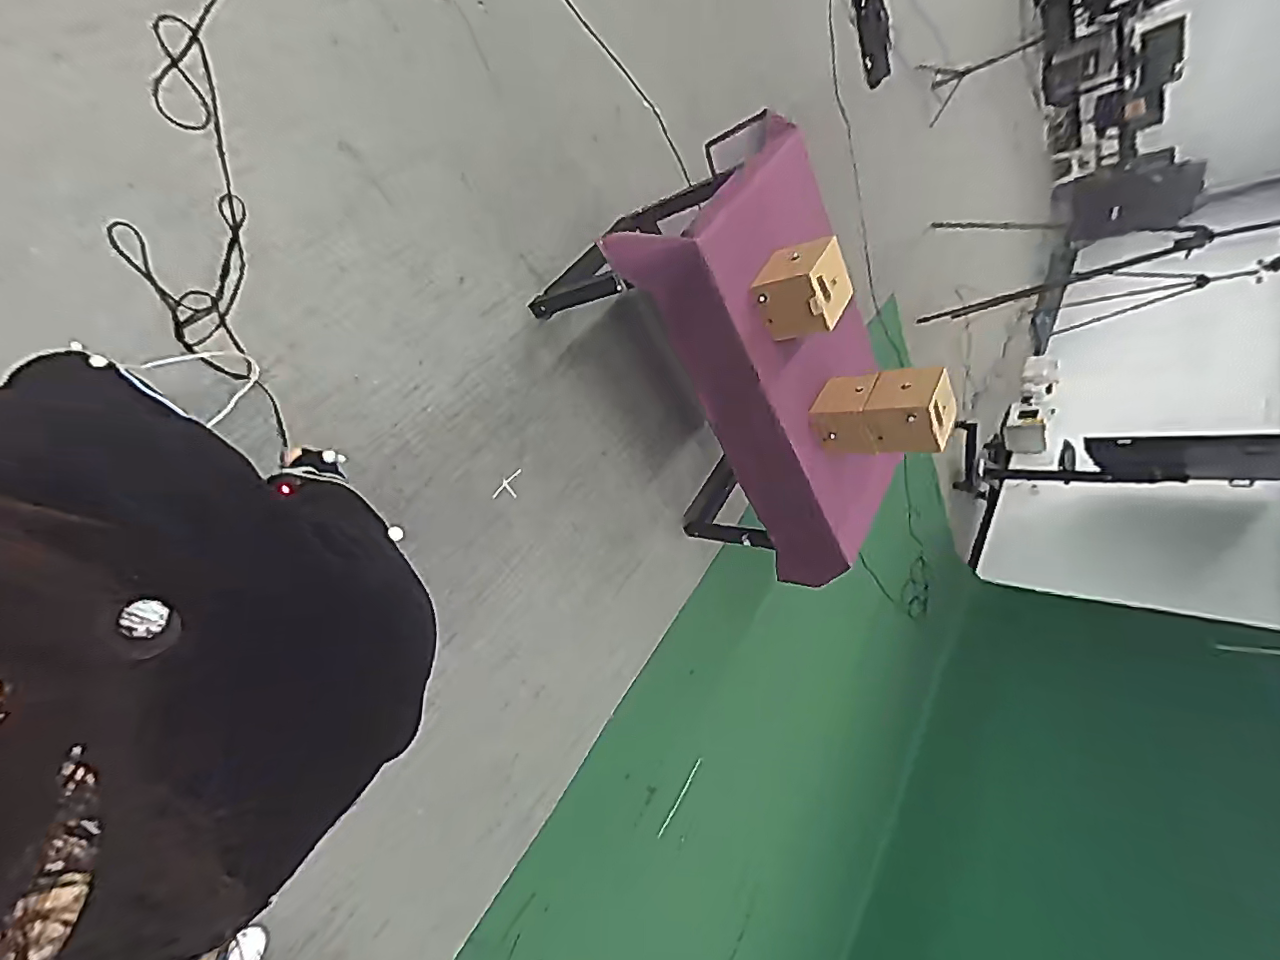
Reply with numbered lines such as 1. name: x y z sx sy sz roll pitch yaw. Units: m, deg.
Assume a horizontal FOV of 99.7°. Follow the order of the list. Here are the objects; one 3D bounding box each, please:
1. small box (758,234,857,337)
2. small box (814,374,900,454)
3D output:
1. small box: 0.420 -0.484 1.373 0.179 0.176 0.168 -56 127 -27
2. small box: 0.643 -0.195 1.606 0.179 0.176 0.168 -52 124 -28
